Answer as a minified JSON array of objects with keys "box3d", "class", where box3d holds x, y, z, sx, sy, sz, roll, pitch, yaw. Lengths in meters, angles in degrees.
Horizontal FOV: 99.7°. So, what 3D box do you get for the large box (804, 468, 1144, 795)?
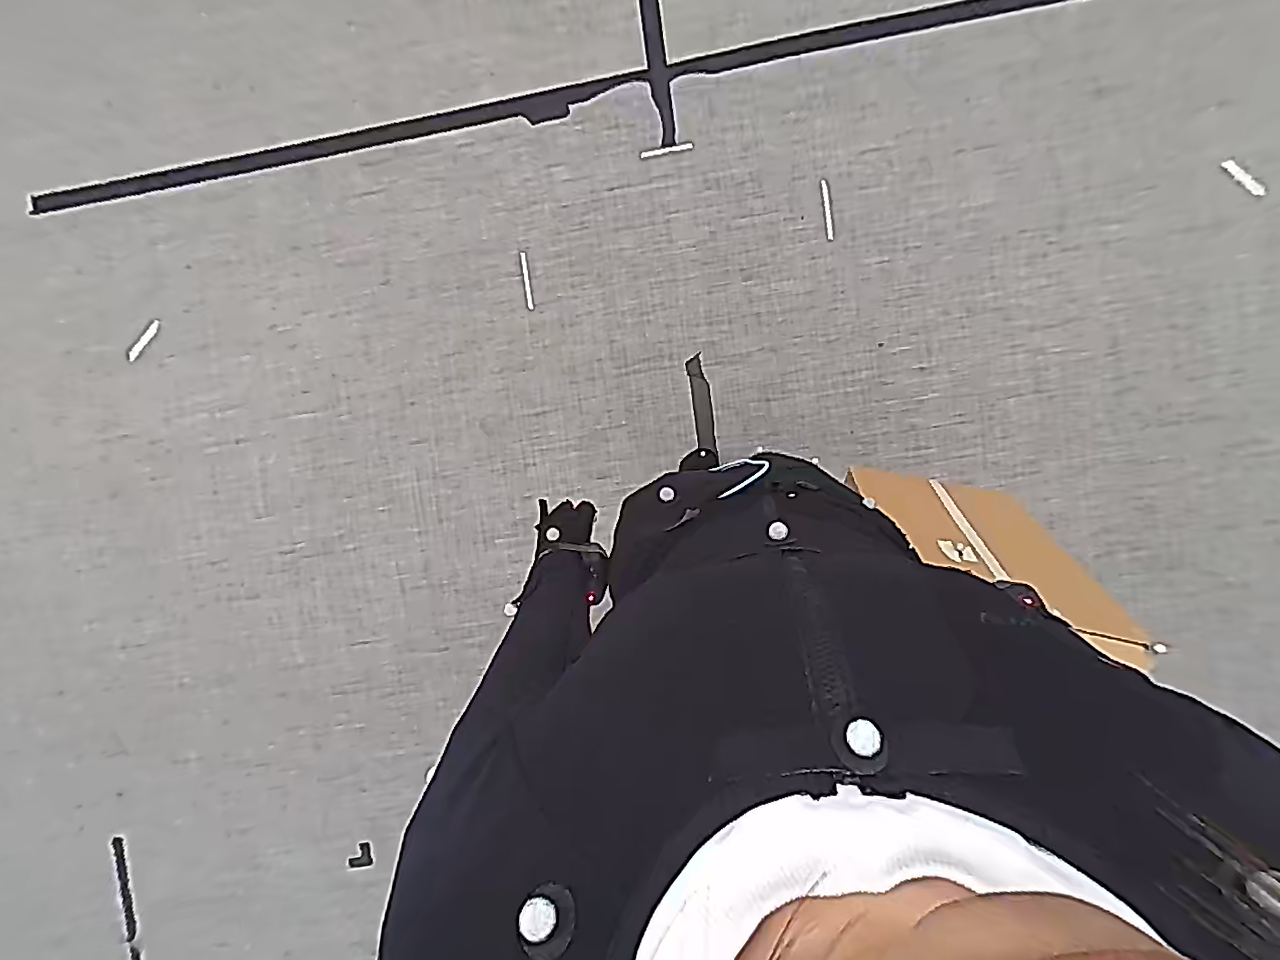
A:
[{"box3d":[0.488,0.226,0.921,0.320,0.408,0.320,11,119,6],"class":"large box"}]
